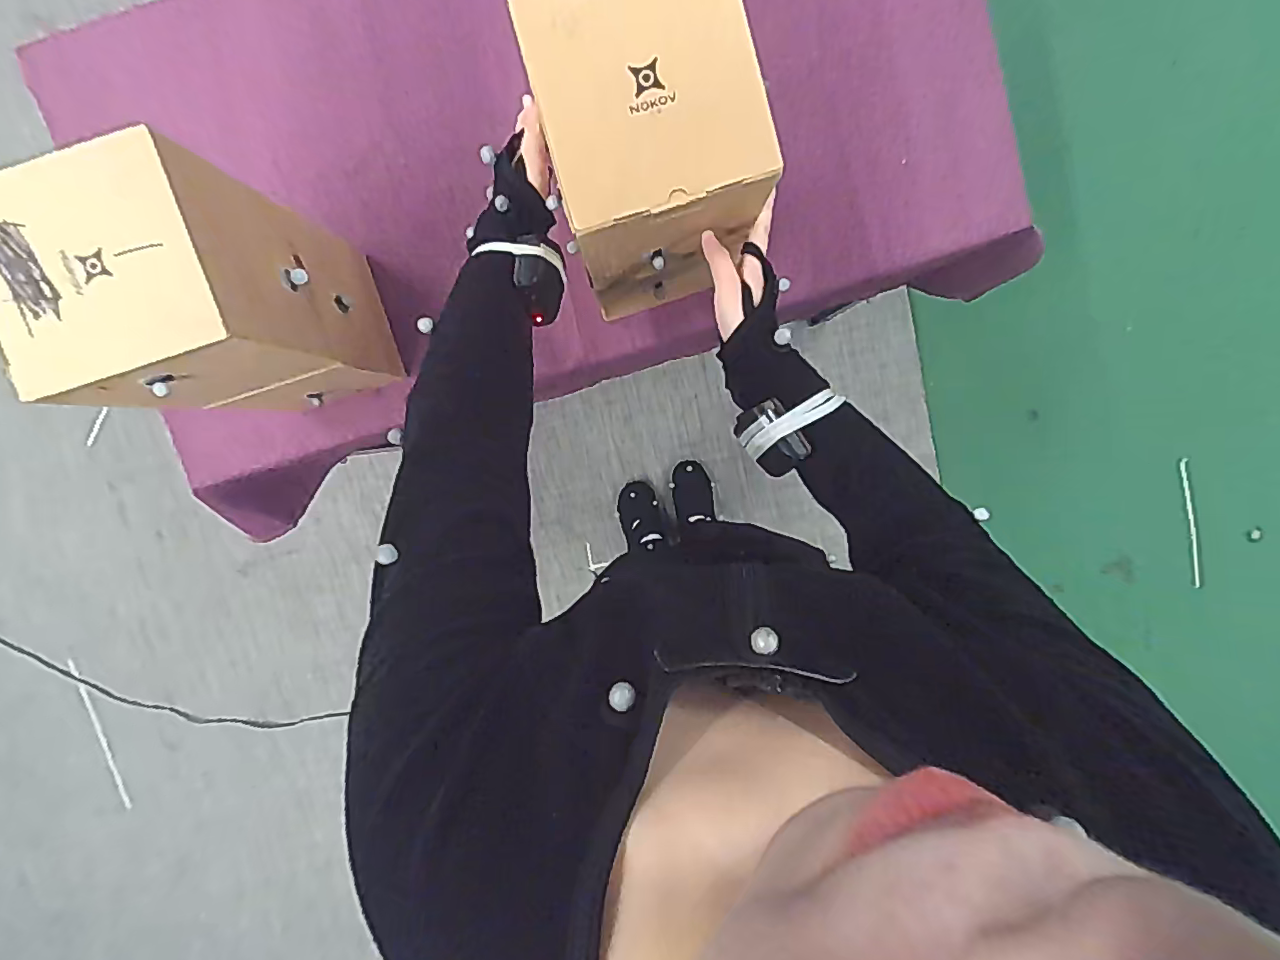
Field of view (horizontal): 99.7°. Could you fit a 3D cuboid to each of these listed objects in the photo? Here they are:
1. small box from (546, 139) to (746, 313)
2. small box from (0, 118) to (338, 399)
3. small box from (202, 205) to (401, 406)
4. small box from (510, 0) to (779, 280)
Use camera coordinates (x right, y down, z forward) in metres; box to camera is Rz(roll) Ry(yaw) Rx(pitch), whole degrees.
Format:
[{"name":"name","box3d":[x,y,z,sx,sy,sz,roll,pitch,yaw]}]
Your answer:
[{"name":"small box","box3d":[0.010,-0.313,0.640,0.179,0.176,0.168,-18,96,3]},{"name":"small box","box3d":[-0.423,-0.176,0.492,0.179,0.176,0.168,-17,96,2]},{"name":"small box","box3d":[-0.421,-0.194,0.656,0.168,0.176,0.179,-17,95,1]},{"name":"small box","box3d":[0.003,-0.302,0.477,0.168,0.176,0.179,-16,96,2]}]
